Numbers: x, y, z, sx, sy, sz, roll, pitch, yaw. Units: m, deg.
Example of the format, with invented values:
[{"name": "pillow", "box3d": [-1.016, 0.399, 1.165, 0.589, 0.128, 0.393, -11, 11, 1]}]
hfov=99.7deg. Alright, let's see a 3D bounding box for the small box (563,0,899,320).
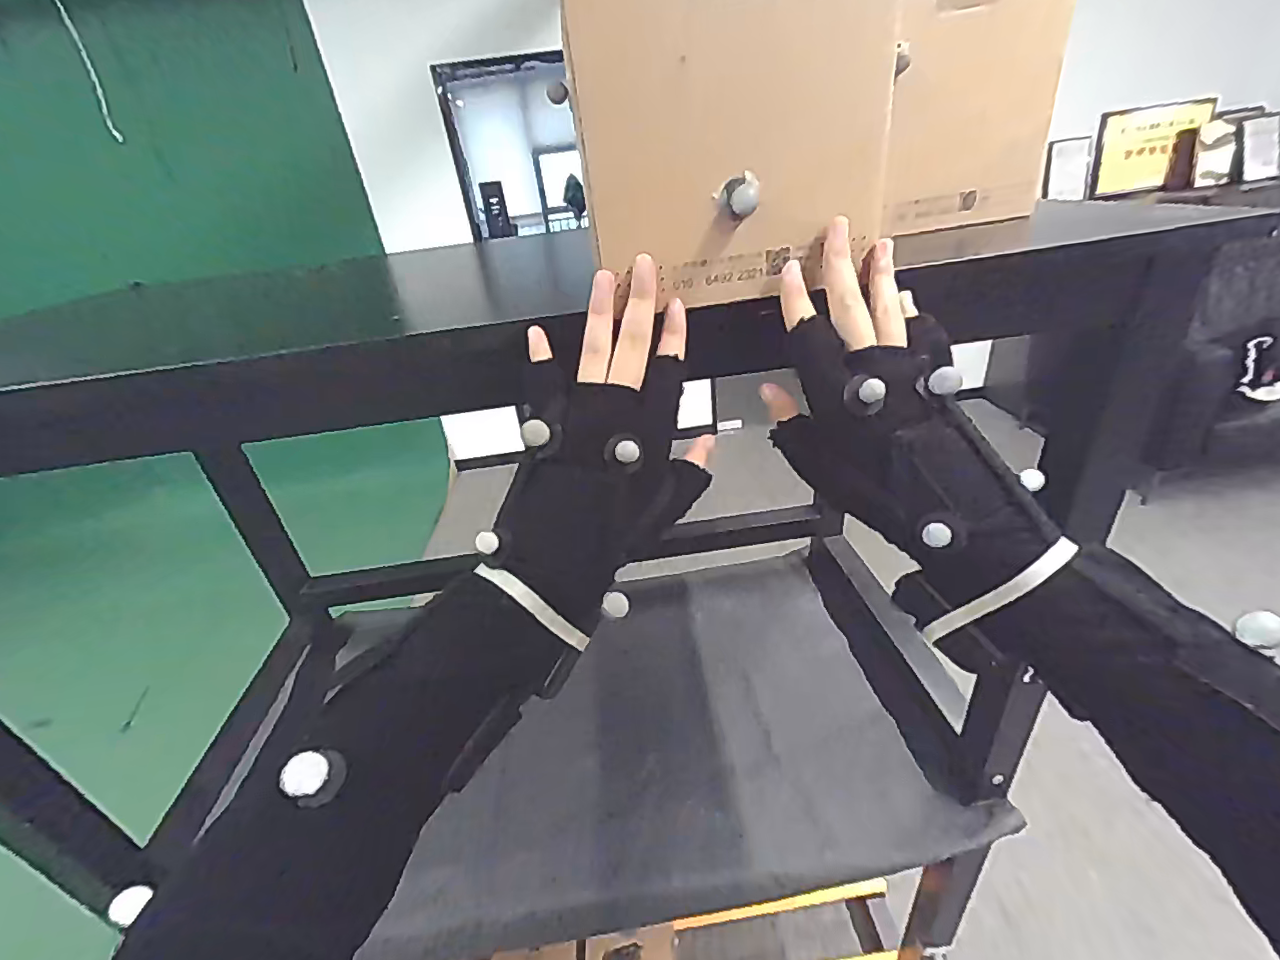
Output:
[{"name": "small box", "box3d": [0.045, -0.216, 0.365, 0.168, 0.176, 0.179, -9, 31, -1]}]
